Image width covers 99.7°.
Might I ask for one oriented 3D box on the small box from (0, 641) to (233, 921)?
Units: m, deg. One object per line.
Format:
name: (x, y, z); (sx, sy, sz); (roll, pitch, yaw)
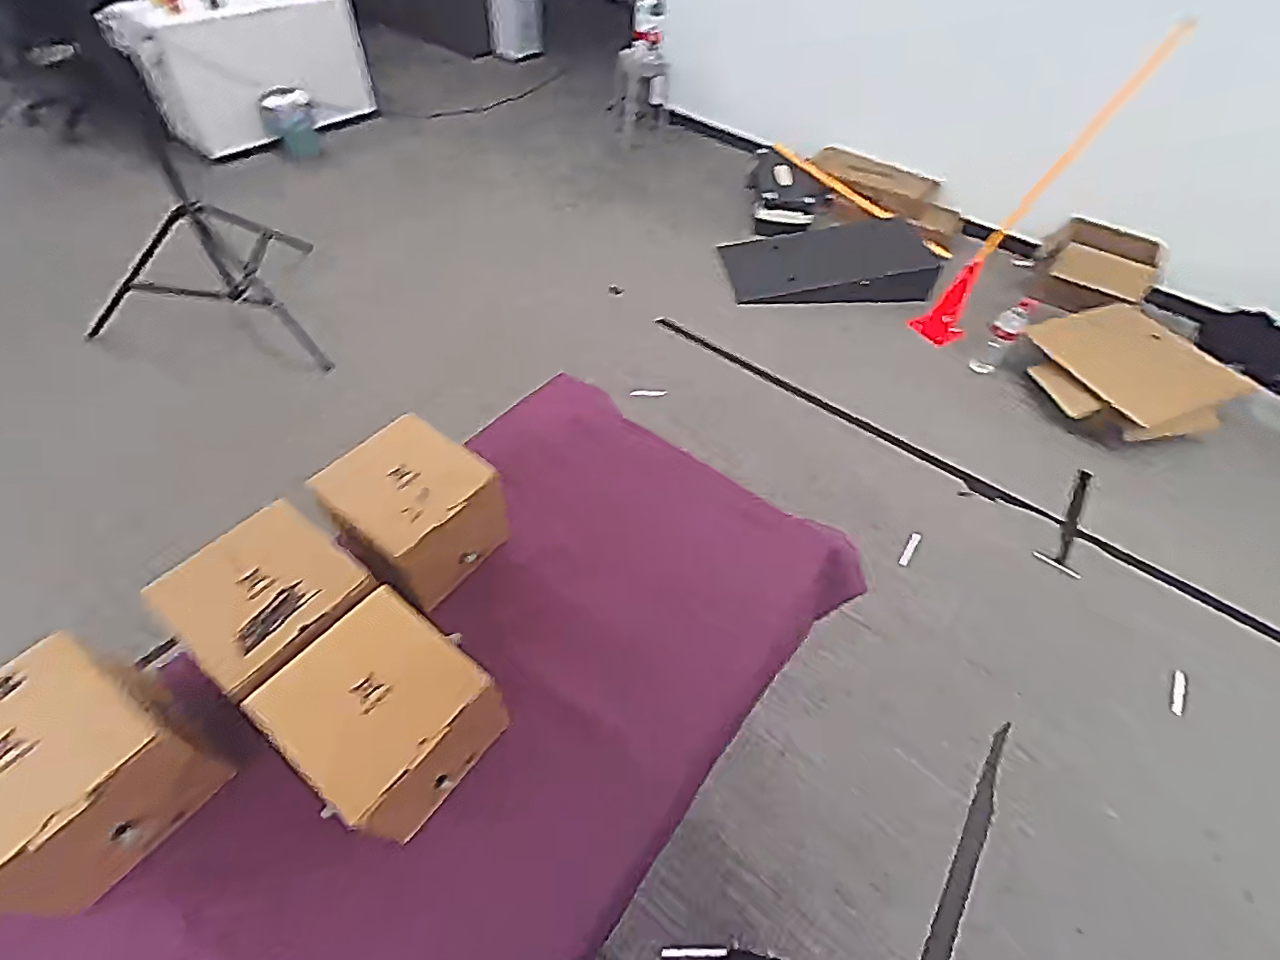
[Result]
small box: (-0.571, 0.302, 0.549); (0.179, 0.176, 0.168); (33, 56, 16)
